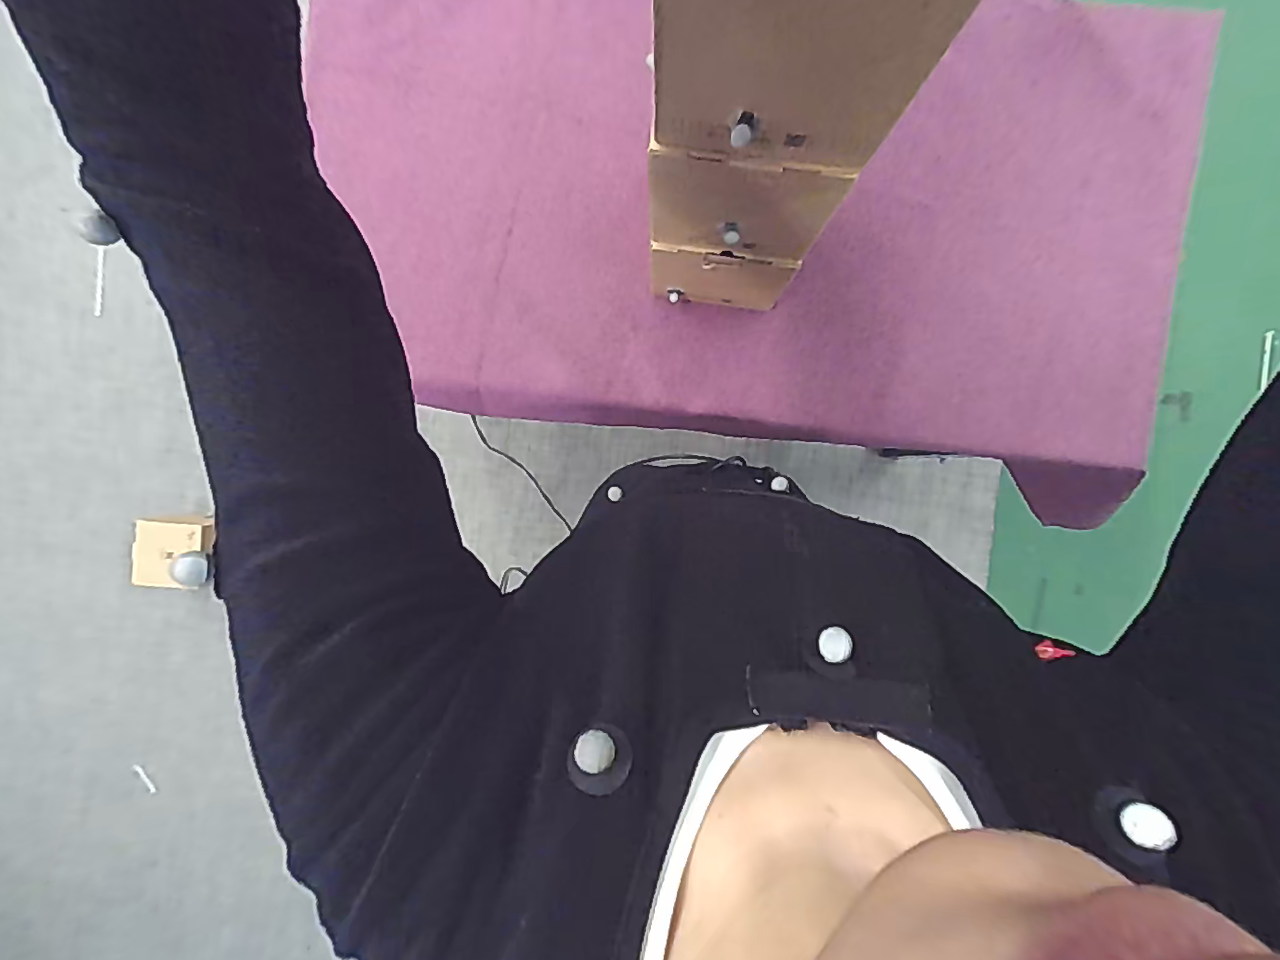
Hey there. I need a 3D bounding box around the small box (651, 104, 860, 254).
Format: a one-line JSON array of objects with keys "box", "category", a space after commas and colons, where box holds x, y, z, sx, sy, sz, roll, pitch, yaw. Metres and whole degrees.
[{"box": [0.103, -0.336, 0.497, 0.168, 0.176, 0.179, 8, 92, 2], "category": "small box"}]

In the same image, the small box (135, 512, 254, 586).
[{"box": [-1.182, 0.177, 1.442, 0.179, 0.176, 0.168, 5, 92, 2], "category": "small box"}]

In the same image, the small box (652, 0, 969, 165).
[{"box": [0.099, -0.336, 0.335, 0.168, 0.176, 0.179, 8, 92, 2], "category": "small box"}]

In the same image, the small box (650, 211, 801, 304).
[{"box": [0.108, -0.331, 0.662, 0.168, 0.176, 0.179, 9, 91, 2], "category": "small box"}]
